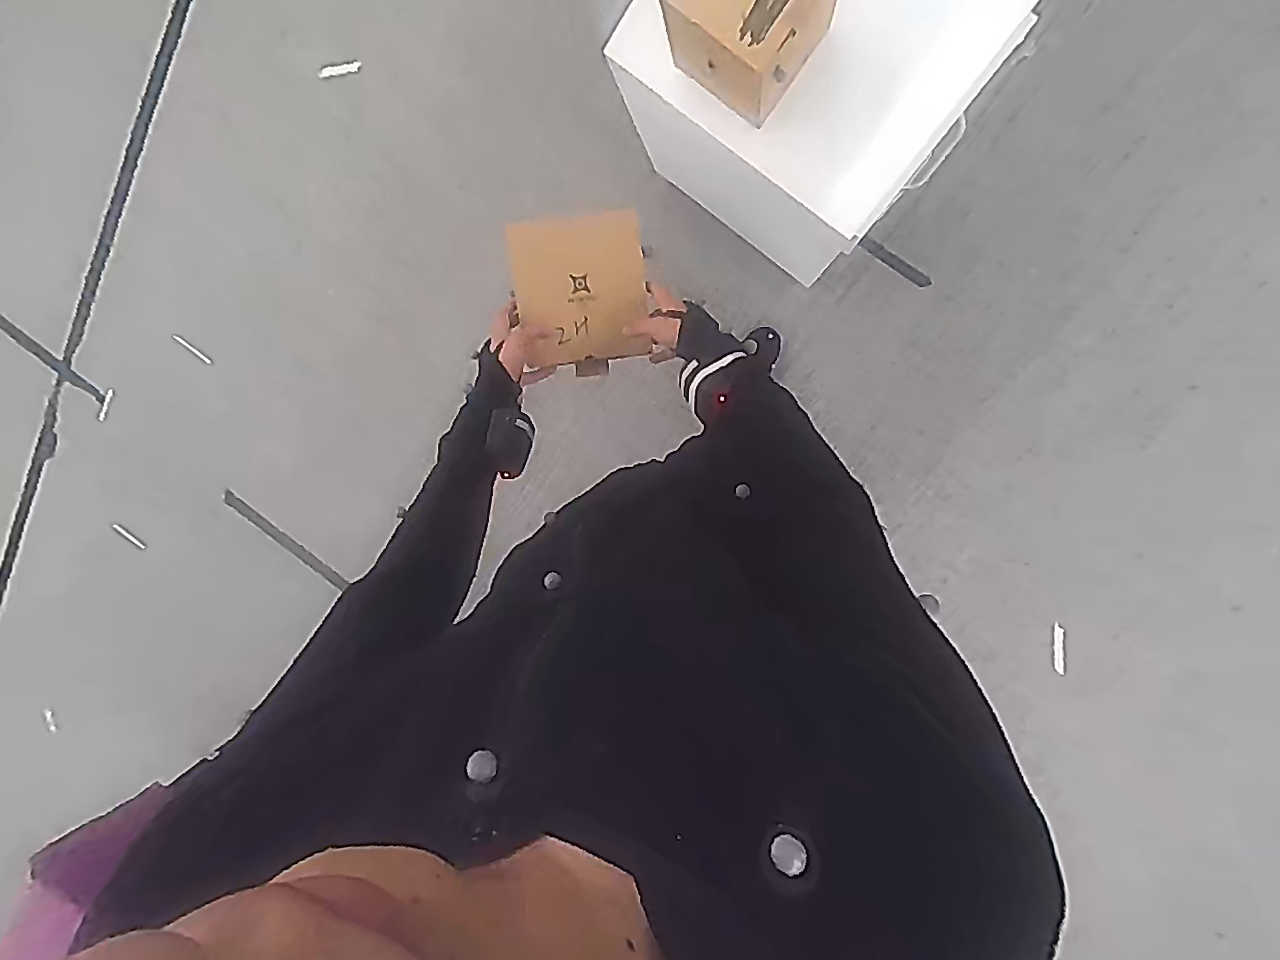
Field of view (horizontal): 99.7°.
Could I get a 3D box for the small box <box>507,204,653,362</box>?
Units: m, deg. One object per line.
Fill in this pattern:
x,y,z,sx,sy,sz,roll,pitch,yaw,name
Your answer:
-0.074,-0.262,0.751,0.168,0.176,0.179,-6,106,1,small box
